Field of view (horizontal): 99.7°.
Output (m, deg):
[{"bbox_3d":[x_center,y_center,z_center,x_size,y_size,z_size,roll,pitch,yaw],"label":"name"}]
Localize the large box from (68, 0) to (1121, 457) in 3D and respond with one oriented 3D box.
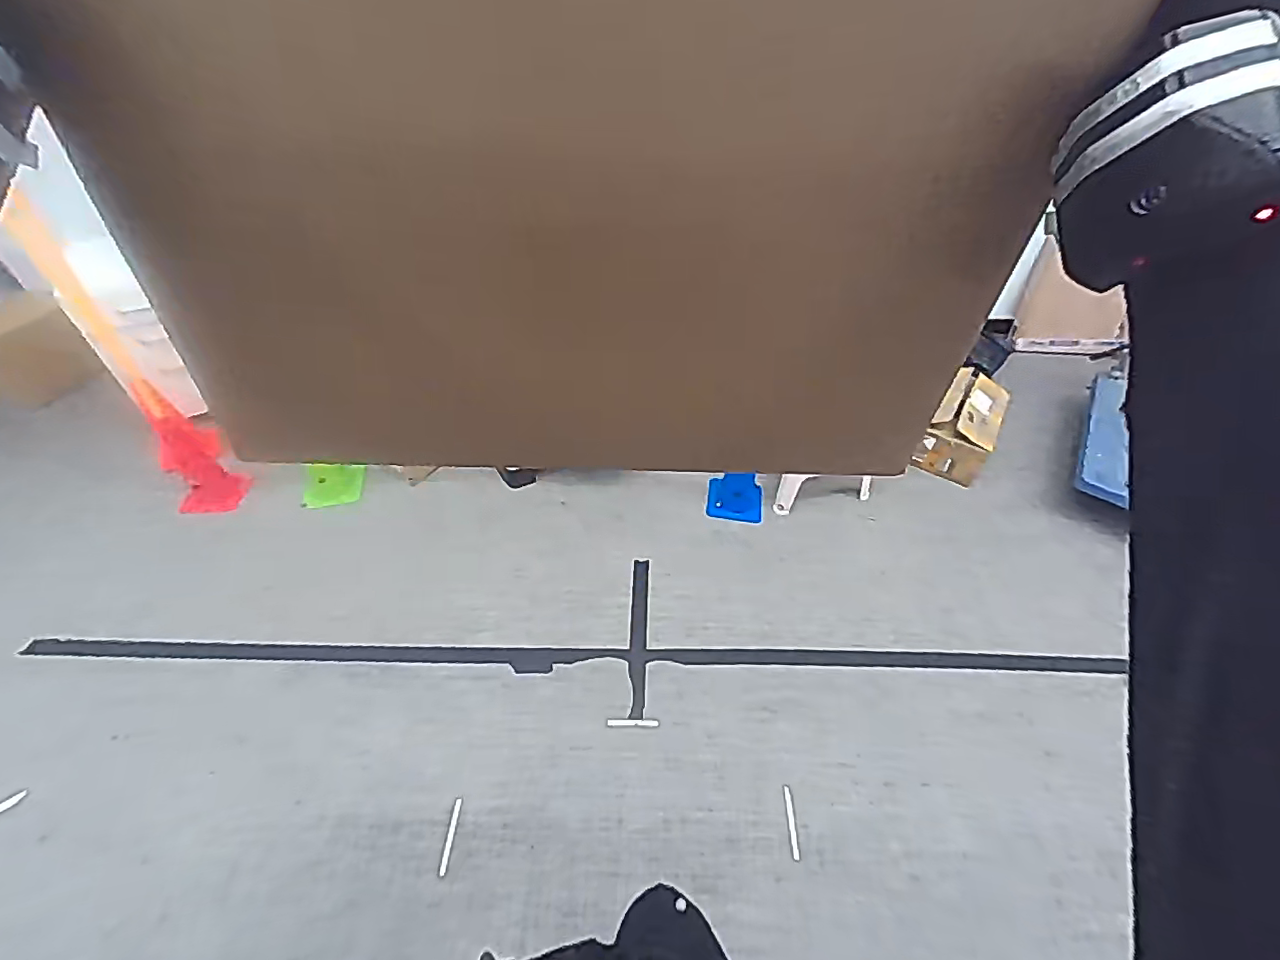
[{"bbox_3d":[-0.024,-0.226,0.355,0.408,0.320,0.320,2,42,-6],"label":"large box"}]
